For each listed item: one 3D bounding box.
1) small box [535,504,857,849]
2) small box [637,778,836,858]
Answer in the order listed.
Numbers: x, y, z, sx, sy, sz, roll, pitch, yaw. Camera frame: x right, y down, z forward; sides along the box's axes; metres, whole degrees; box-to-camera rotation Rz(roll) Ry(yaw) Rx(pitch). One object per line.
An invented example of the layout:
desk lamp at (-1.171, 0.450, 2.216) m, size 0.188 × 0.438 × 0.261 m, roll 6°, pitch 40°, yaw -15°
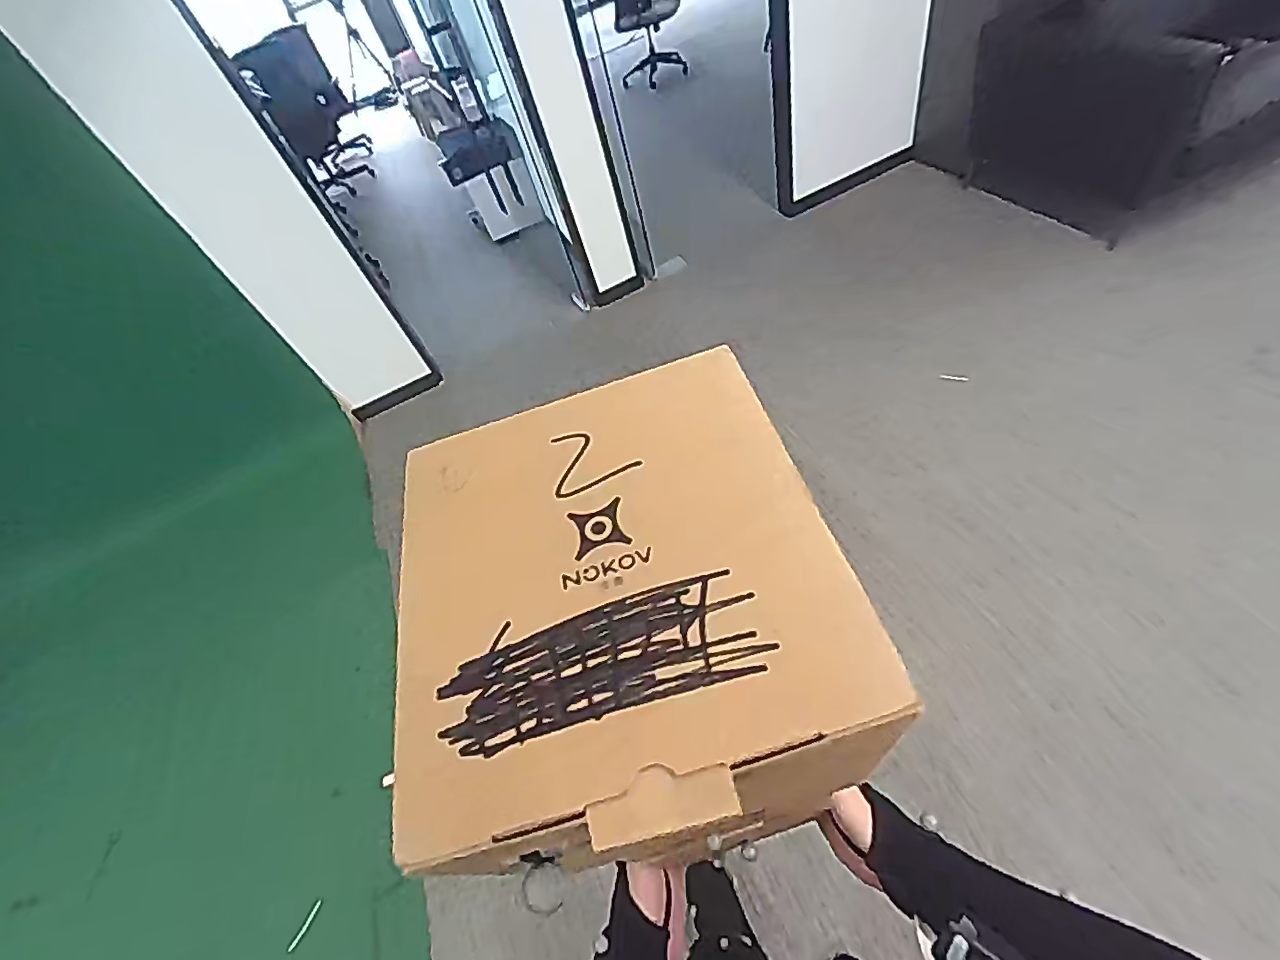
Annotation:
small box at (0.036, 0.152, 0.409) m, size 0.168 × 0.176 × 0.179 m, roll -20°, pitch 53°, yaw 0°
small box at (0.071, 0.248, 0.535) m, size 0.168 × 0.176 × 0.179 m, roll -20°, pitch 52°, yaw 1°
